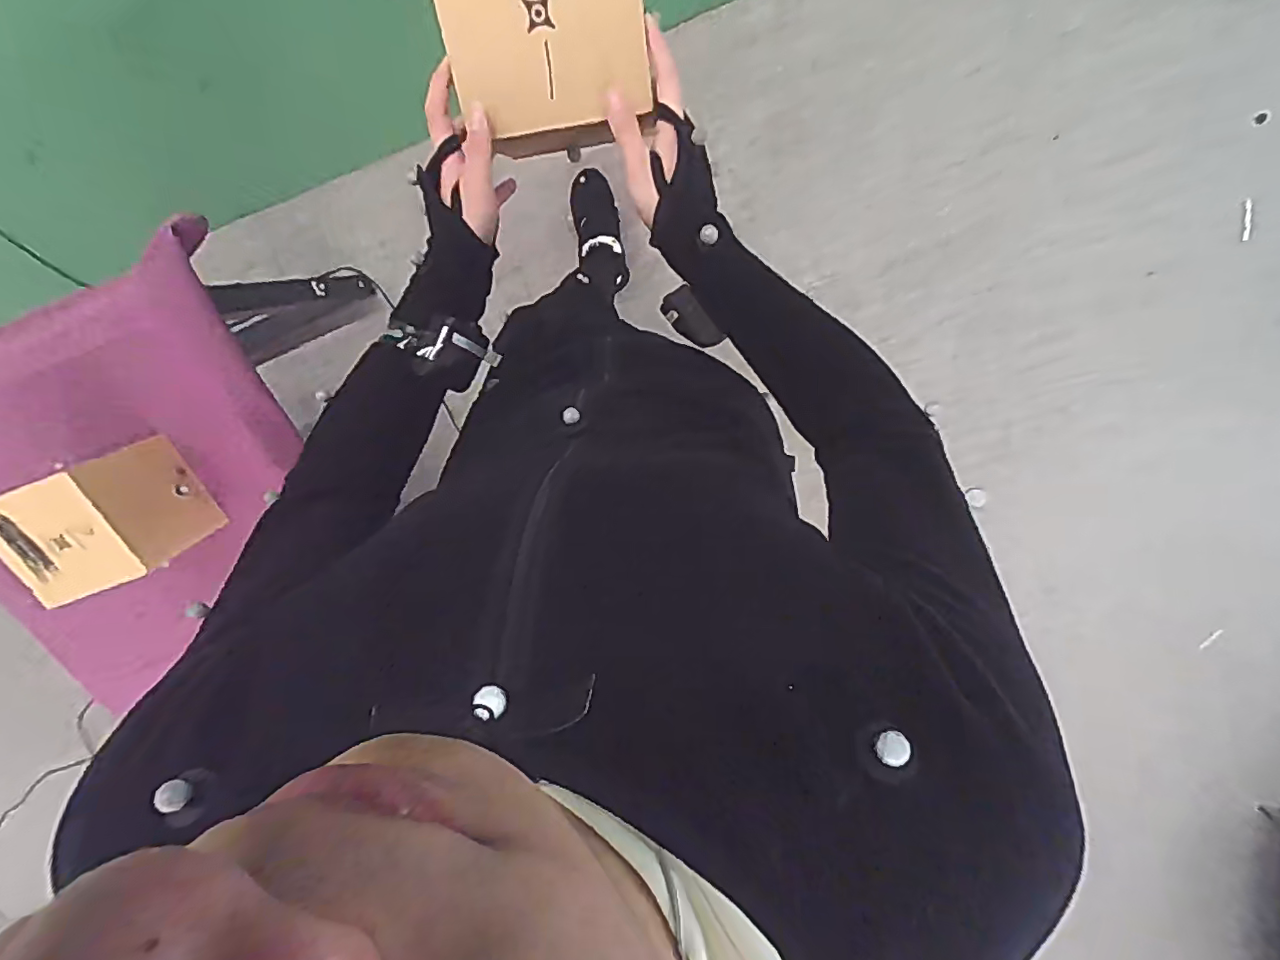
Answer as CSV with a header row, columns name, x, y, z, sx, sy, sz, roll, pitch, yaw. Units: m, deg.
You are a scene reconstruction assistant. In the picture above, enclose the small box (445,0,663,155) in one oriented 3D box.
name,x,y,z,sx,sy,sz,roll,pitch,yaw
small box,-0.071,-0.414,0.494,0.168,0.176,0.179,-6,117,4
